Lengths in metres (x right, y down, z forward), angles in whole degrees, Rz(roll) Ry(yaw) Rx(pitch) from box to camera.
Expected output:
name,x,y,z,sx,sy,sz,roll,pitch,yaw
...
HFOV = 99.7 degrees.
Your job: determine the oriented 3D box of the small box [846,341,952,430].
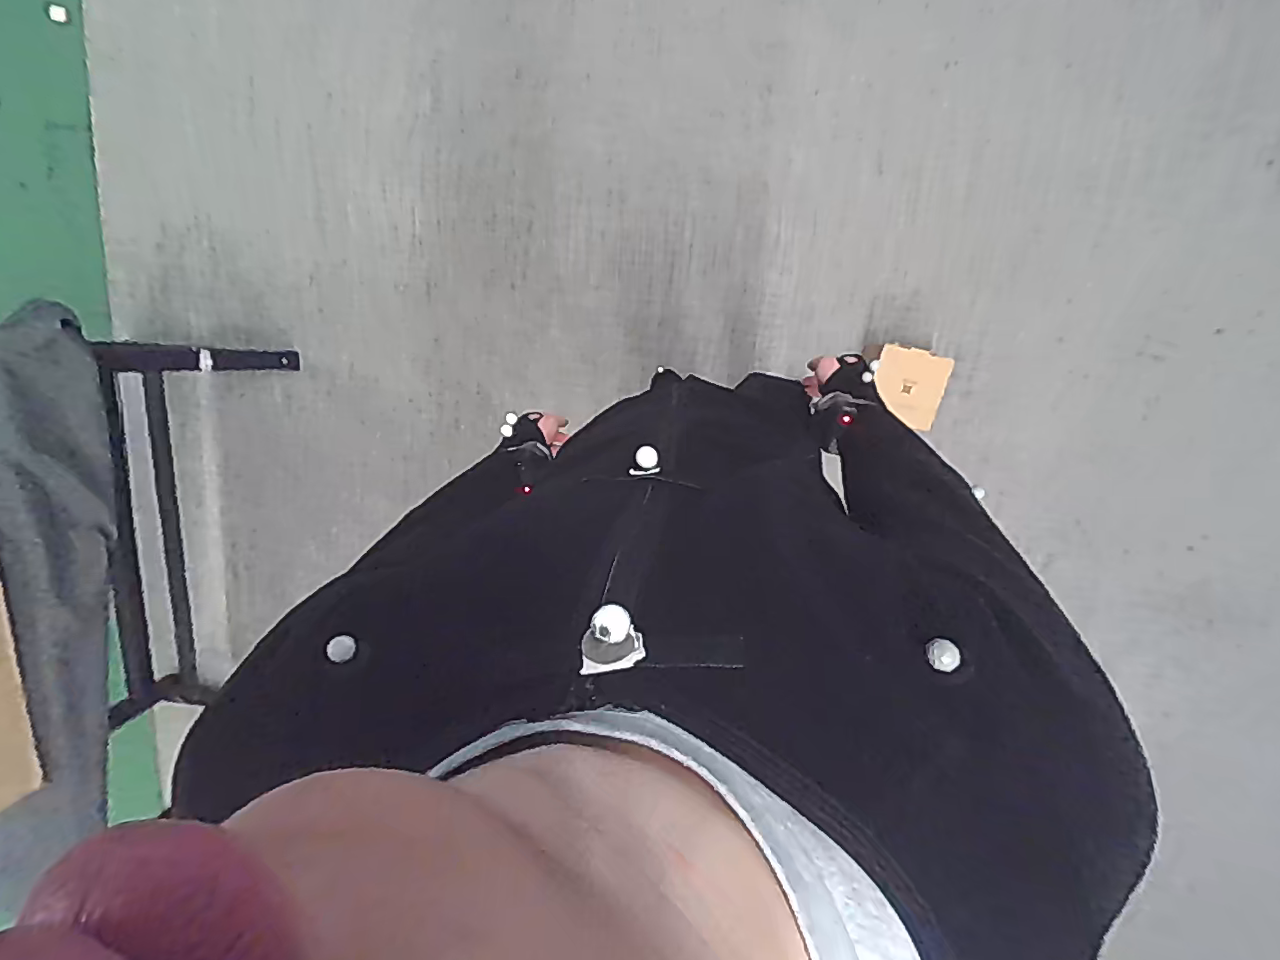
name,x,y,z,sx,sy,sz,roll,pitch,yaw
small box,0.635,-0.240,1.353,0.168,0.176,0.179,16,105,5
